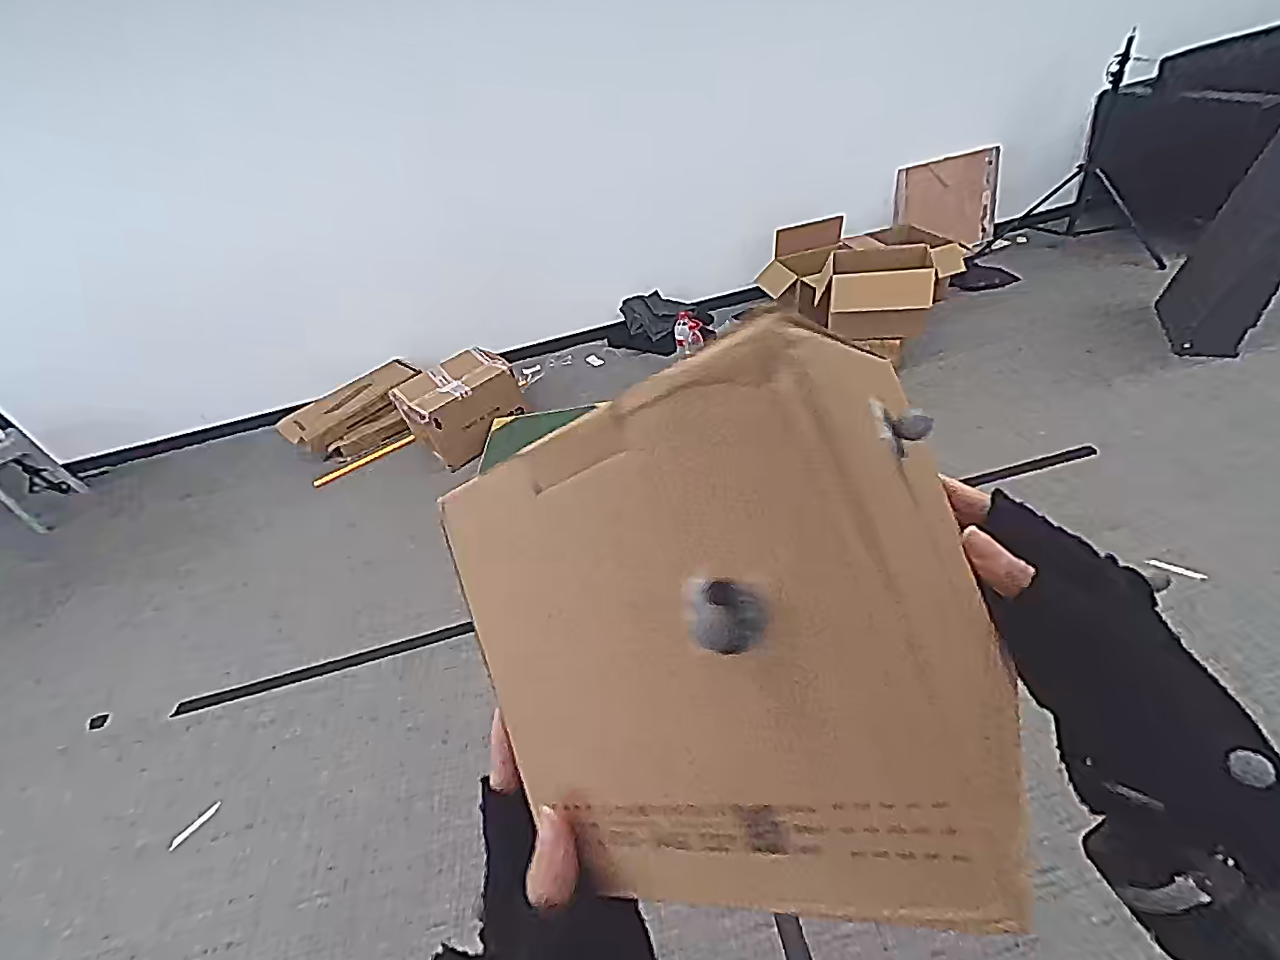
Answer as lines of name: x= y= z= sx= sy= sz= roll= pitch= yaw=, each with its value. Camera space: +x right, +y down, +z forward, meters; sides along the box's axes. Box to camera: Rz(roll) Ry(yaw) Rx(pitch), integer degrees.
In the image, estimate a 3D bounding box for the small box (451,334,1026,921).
small box: x=0.052 y=0.055 z=0.252 sx=0.168 sy=0.176 sz=0.179 roll=-22 pitch=-6 yaw=32
